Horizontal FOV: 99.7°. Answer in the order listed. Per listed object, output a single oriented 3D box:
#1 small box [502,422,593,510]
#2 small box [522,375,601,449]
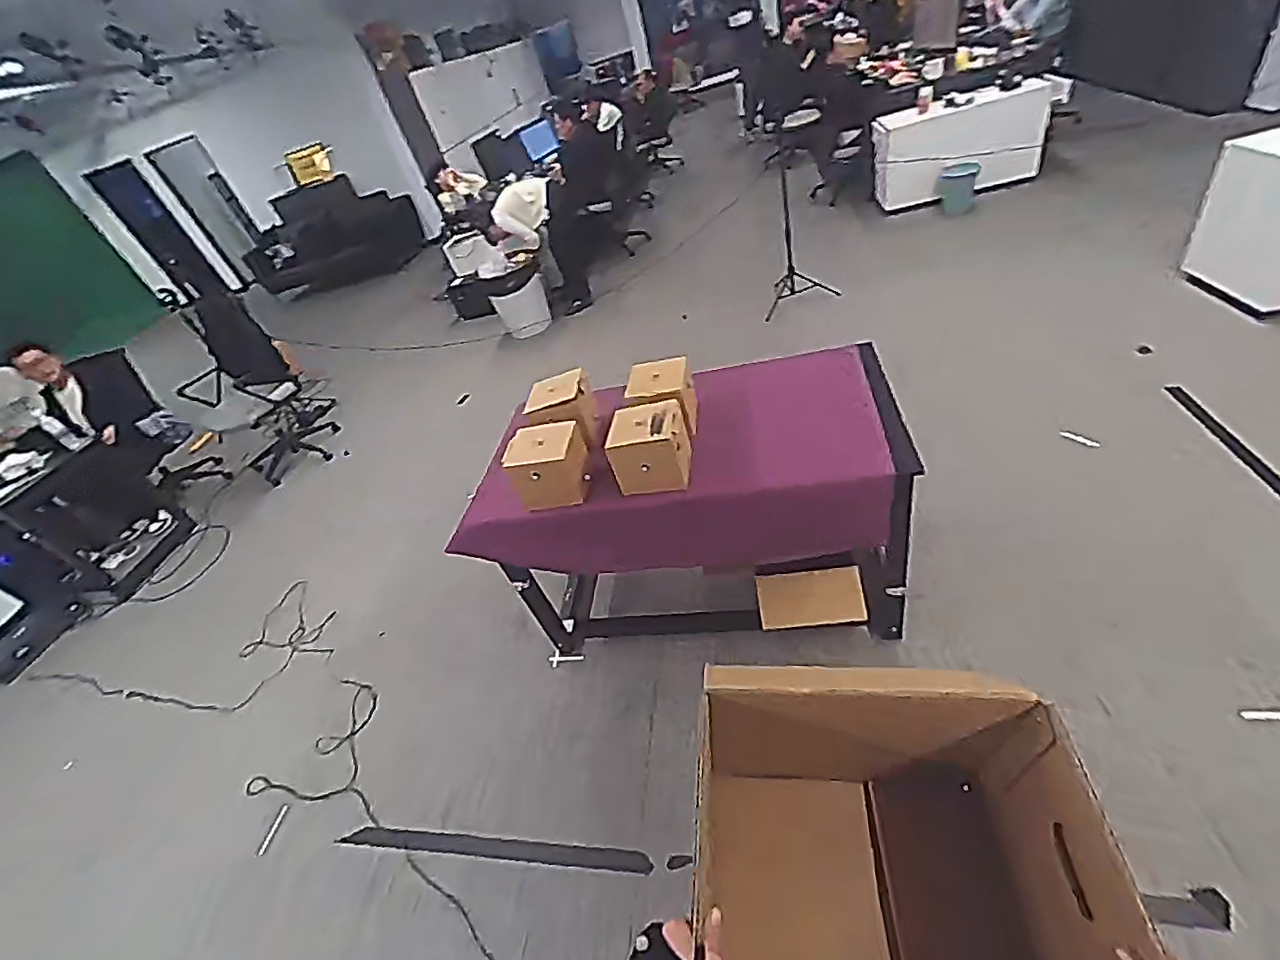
[{"bbox_3d":[-0.247,-0.034,1.483,0.179,0.176,0.168,-7,41,14],"label":"small box"},{"bbox_3d":[-0.234,-0.195,1.663,0.179,0.176,0.168,-8,41,13],"label":"small box"}]
